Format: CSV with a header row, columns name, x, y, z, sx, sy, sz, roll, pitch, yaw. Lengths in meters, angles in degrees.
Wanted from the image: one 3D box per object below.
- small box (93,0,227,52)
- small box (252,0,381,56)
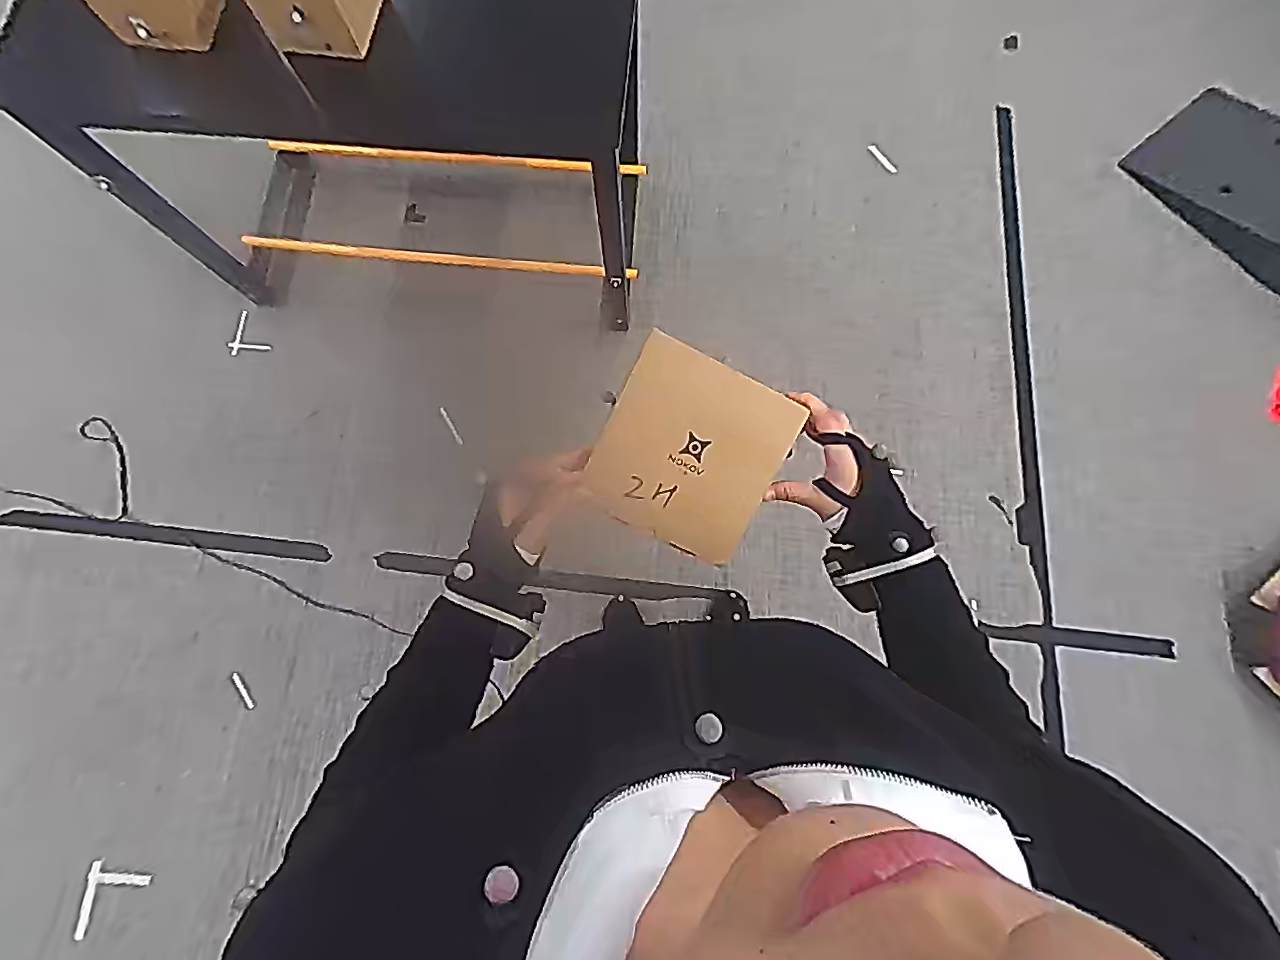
name,x,y,z,sx,sy,sz,roll,pitch,yaw
small box,-0.884,-0.919,0.966,0.168,0.176,0.179,4,78,2
small box,-0.586,-0.902,0.959,0.168,0.176,0.179,7,78,2
